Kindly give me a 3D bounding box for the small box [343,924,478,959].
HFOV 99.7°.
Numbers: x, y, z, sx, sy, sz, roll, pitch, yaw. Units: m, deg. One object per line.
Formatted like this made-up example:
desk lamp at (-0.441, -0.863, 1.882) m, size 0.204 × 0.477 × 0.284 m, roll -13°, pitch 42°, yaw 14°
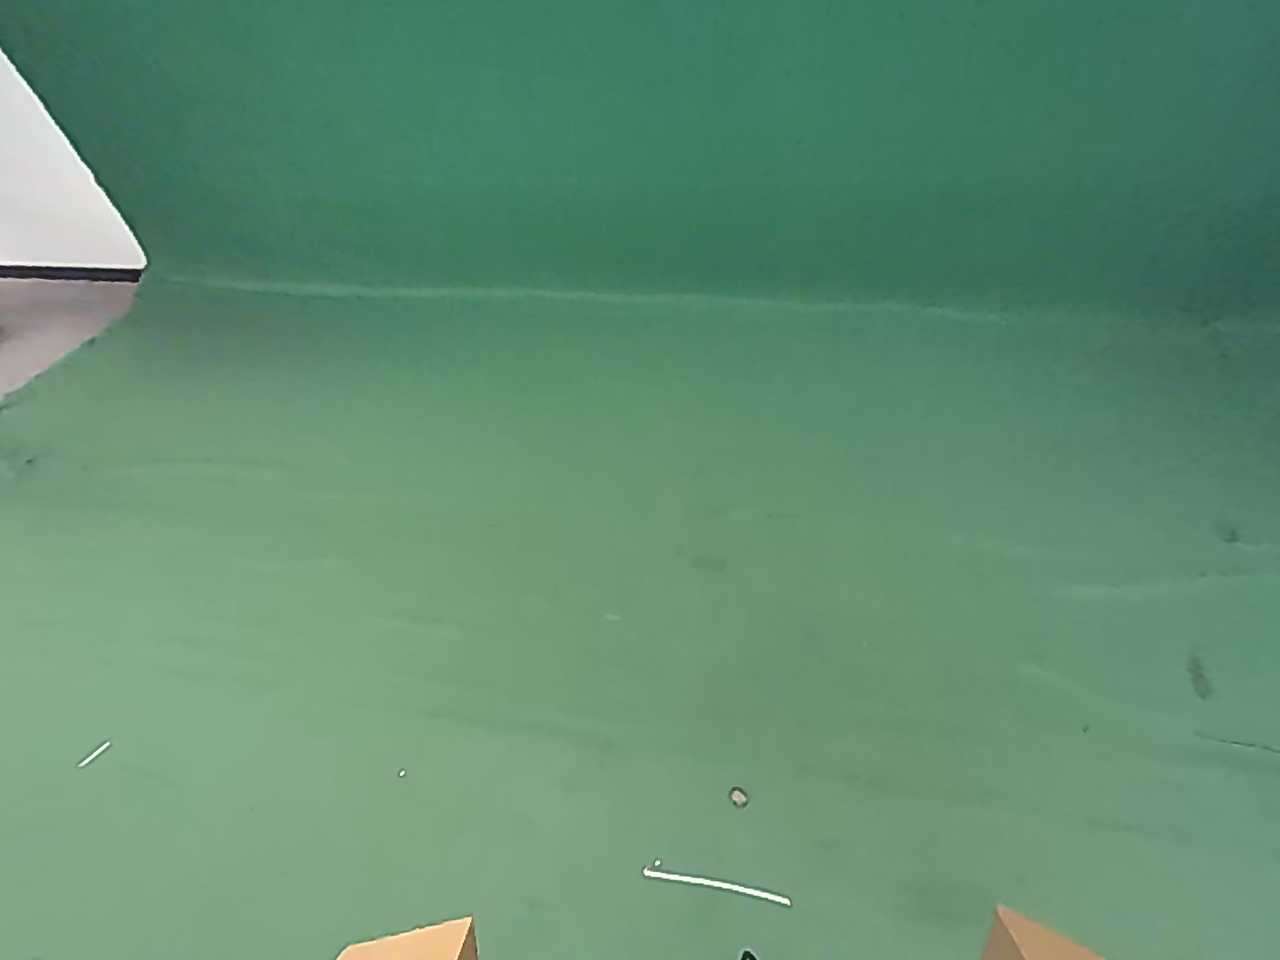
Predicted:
small box at (-0.278, 0.664, 0.609) m, size 0.168 × 0.179 × 0.176 m, roll -10°, pitch 83°, yaw -6°
